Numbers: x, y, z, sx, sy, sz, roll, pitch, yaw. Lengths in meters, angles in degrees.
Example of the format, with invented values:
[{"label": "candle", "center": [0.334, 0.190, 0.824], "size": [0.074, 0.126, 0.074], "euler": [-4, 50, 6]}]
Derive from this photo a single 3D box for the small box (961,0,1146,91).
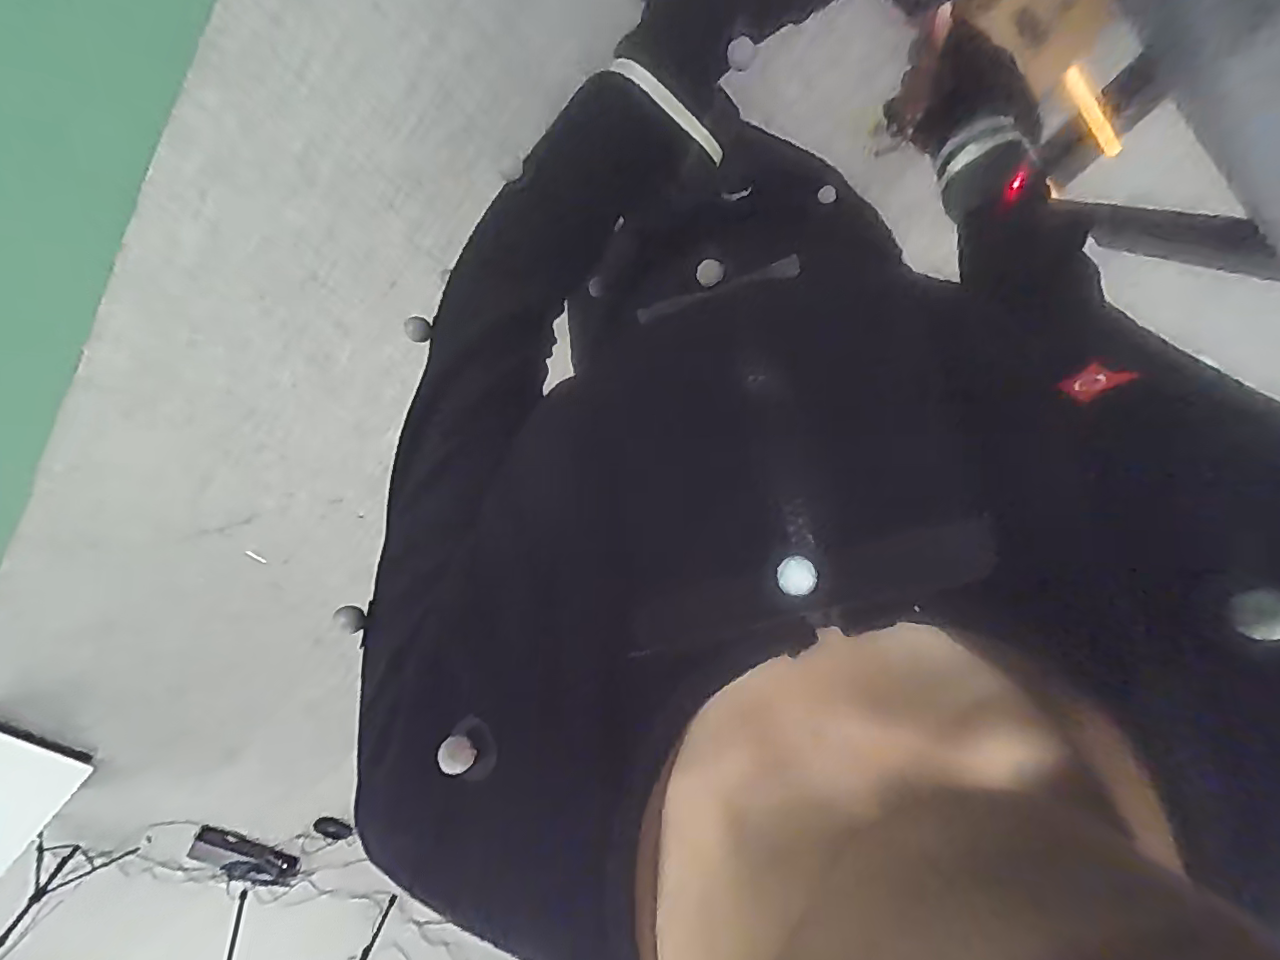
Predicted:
[{"label": "small box", "center": [0.675, -0.791, 0.903], "size": [0.179, 0.176, 0.168], "euler": [-40, 114, 22]}]
